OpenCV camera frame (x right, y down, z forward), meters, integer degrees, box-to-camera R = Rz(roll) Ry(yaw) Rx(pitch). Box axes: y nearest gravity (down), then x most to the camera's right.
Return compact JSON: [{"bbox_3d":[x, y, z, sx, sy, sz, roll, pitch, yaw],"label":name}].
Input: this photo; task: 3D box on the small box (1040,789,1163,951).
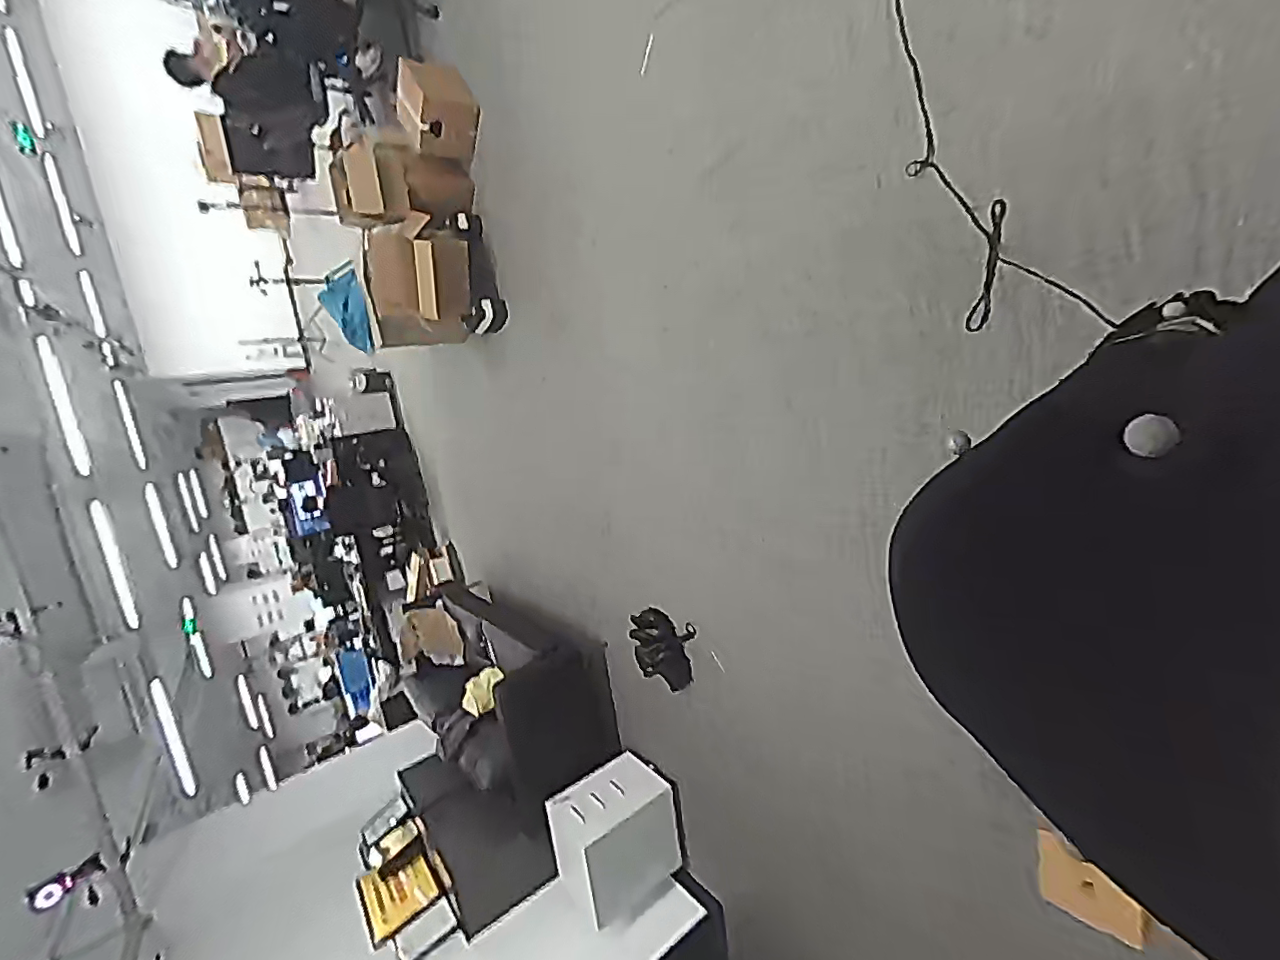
[{"bbox_3d":[0.963,0.796,1.126,0.168,0.176,0.179,1,102,52],"label":"small box"}]
